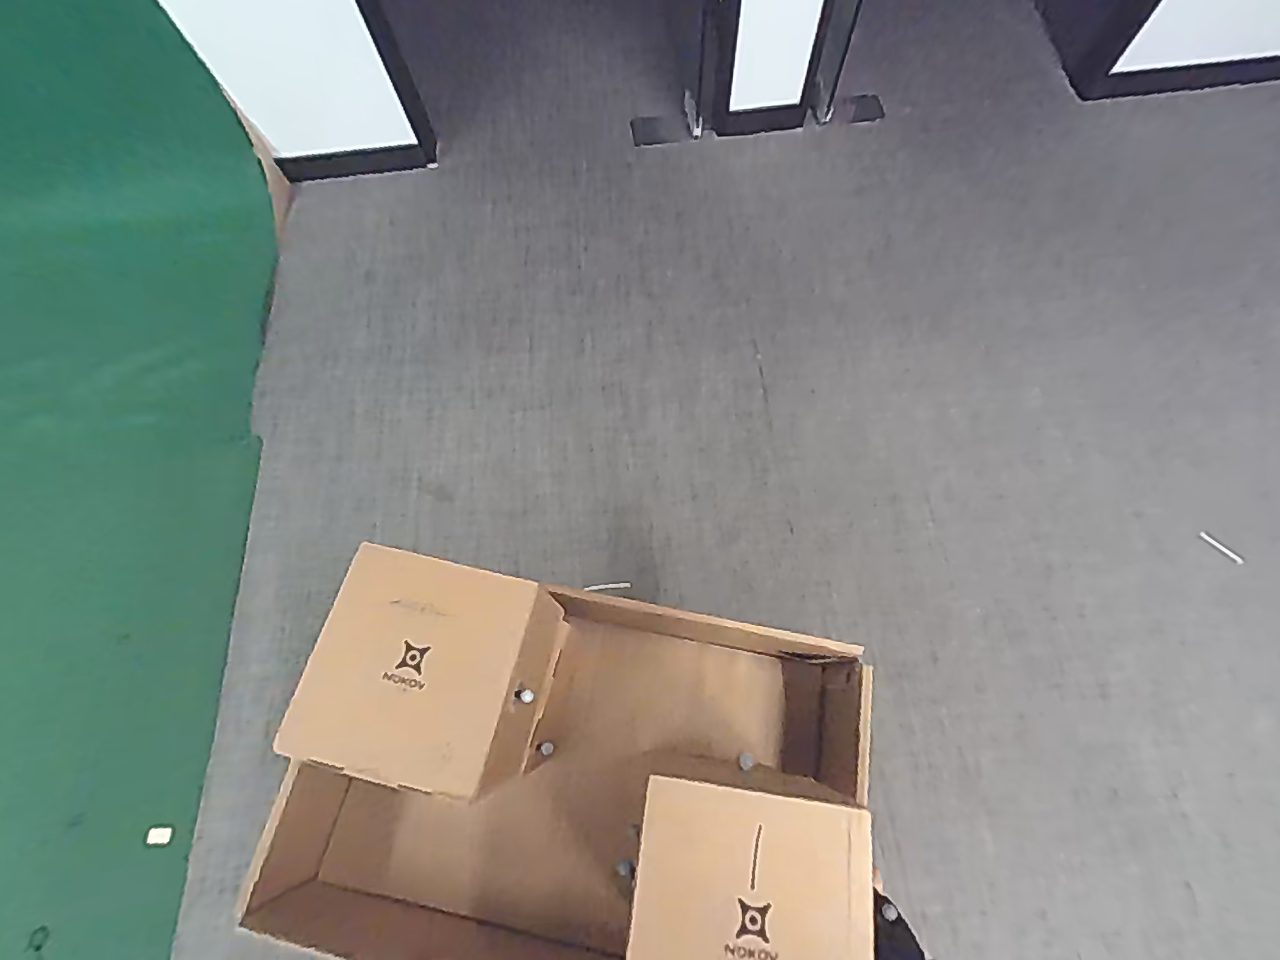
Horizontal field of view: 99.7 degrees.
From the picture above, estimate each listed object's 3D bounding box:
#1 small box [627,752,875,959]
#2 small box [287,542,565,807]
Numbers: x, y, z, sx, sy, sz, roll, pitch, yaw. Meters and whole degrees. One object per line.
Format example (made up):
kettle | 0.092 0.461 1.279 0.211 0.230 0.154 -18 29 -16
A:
small box | 0.080 0.340 0.446 0.168 0.176 0.179 8 68 4
small box | -0.177 0.180 0.517 0.168 0.176 0.179 13 69 5
